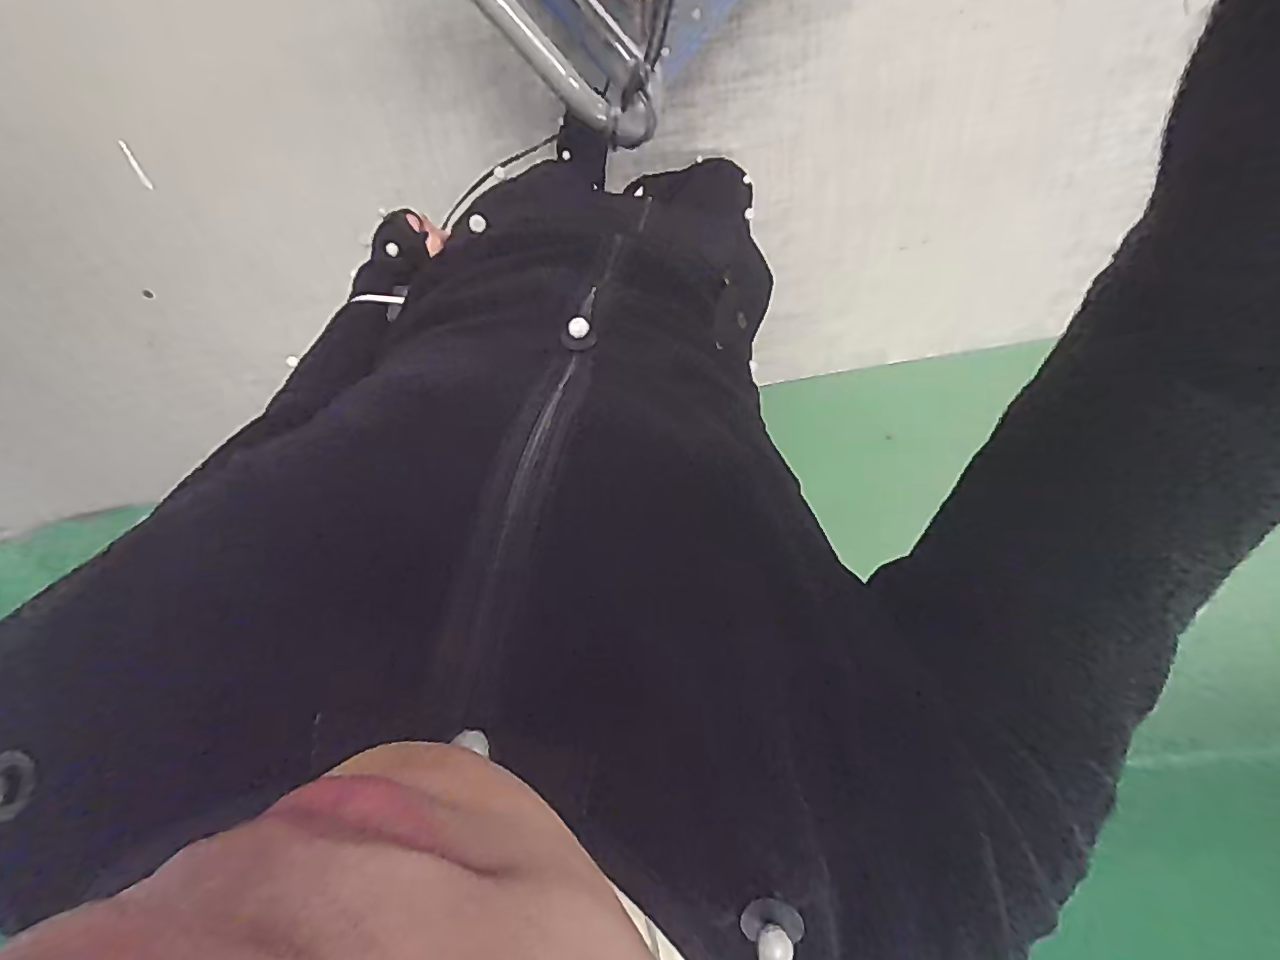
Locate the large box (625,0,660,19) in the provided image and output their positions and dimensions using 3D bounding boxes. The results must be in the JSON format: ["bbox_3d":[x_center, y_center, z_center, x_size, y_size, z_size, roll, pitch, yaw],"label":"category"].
[{"bbox_3d":[0.034,-0.964,0.740,0.320,0.320,0.408,37,117,-26],"label":"large box"}]
